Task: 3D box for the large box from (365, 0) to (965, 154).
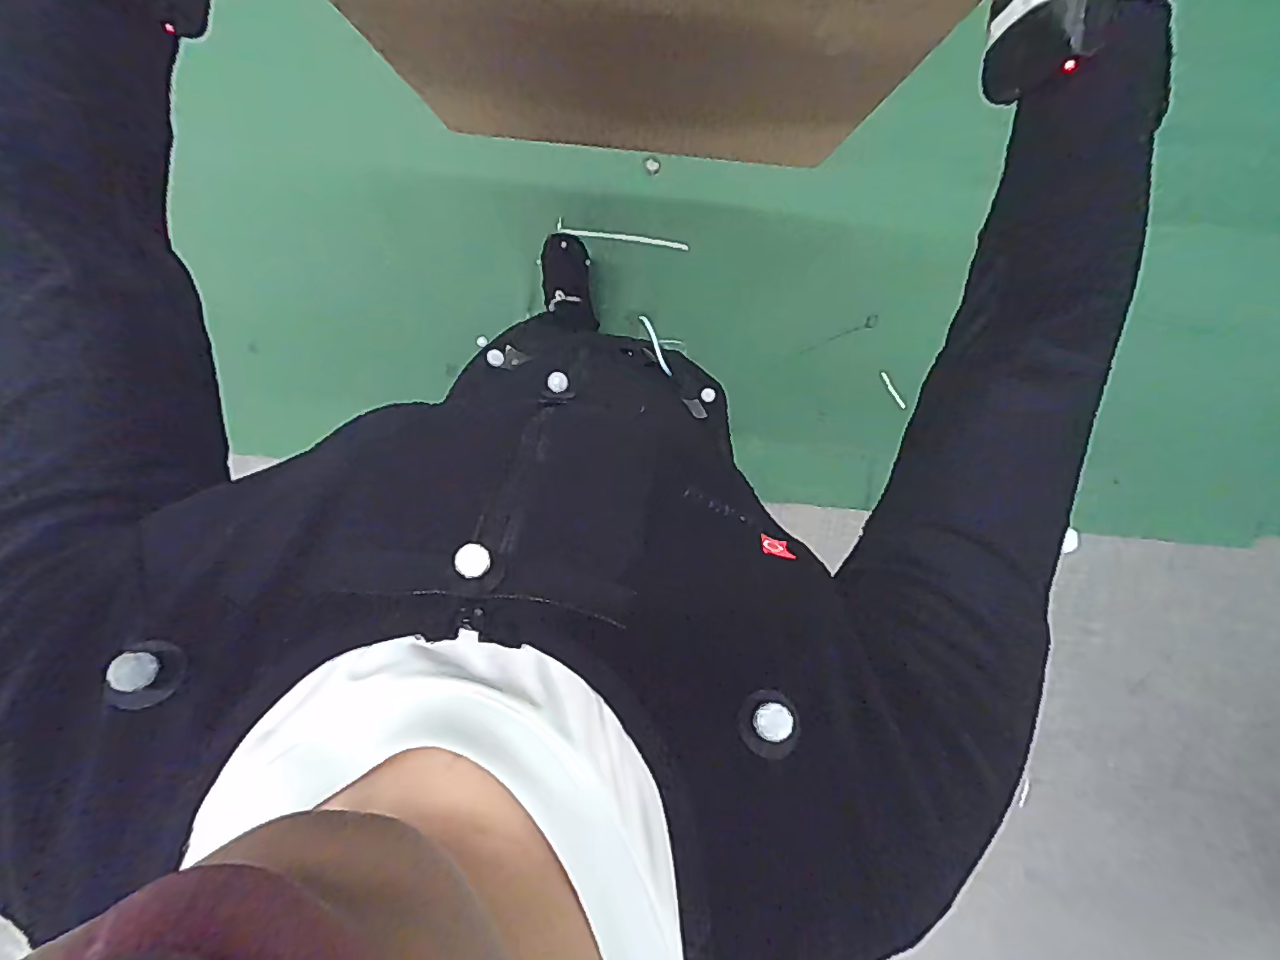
[{"bbox_3d":[0.013,-0.478,0.408,0.408,0.320,0.320,4,105,-2],"label":"large box"}]
